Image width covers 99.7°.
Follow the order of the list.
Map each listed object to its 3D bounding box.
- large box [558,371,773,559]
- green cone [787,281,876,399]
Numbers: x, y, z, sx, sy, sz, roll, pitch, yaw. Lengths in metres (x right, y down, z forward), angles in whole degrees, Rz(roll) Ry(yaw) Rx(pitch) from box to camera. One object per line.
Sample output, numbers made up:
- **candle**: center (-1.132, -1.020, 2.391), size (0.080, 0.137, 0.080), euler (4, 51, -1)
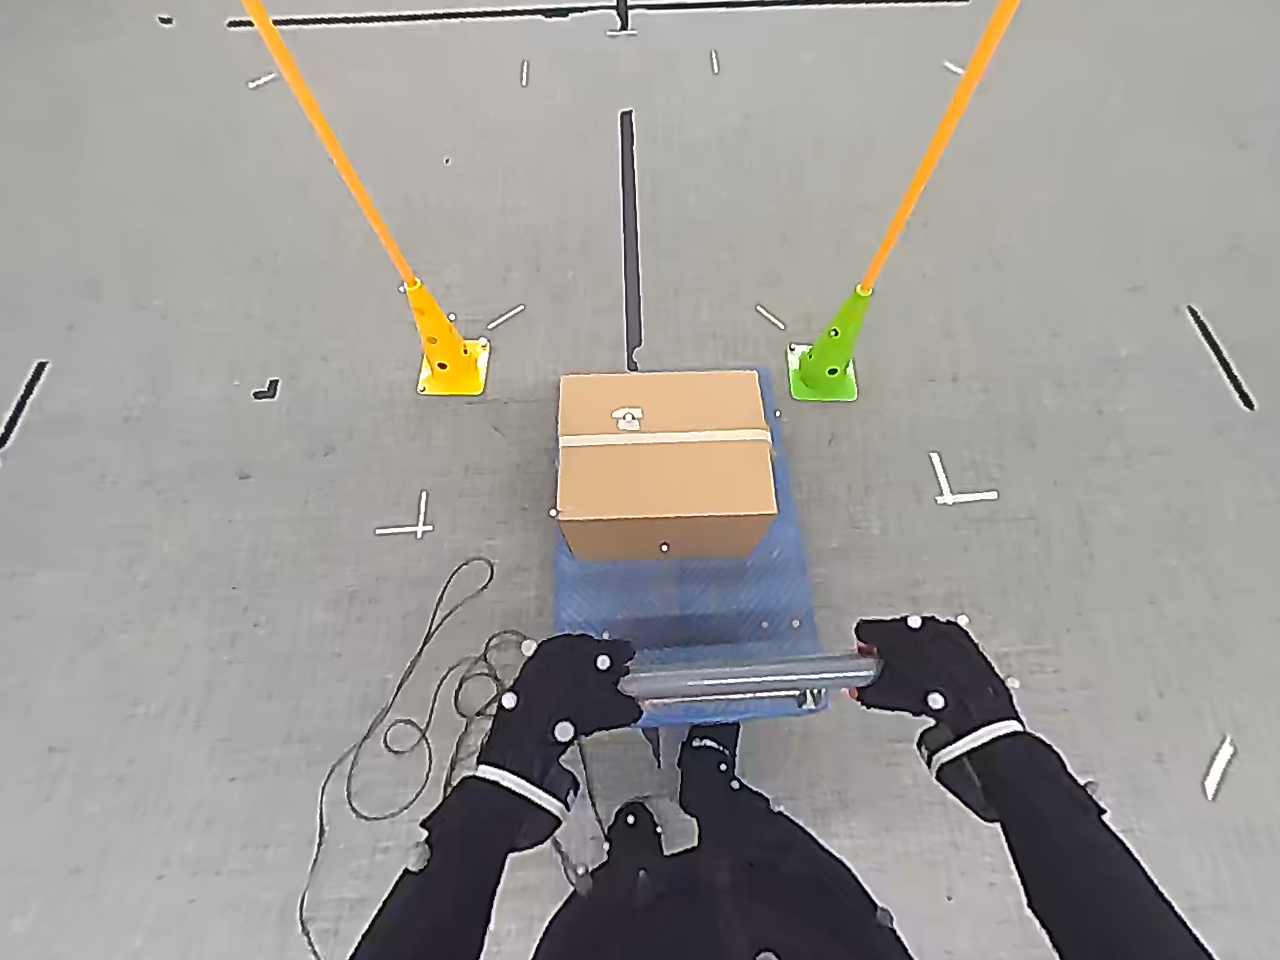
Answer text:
- **large box**: center (0.045, -0.016, 1.187), size (0.408, 0.320, 0.320), euler (-2, 67, 0)
- **green cone**: center (0.561, -0.406, 1.510), size (0.202, 0.368, 0.200), euler (2, 67, 0)
